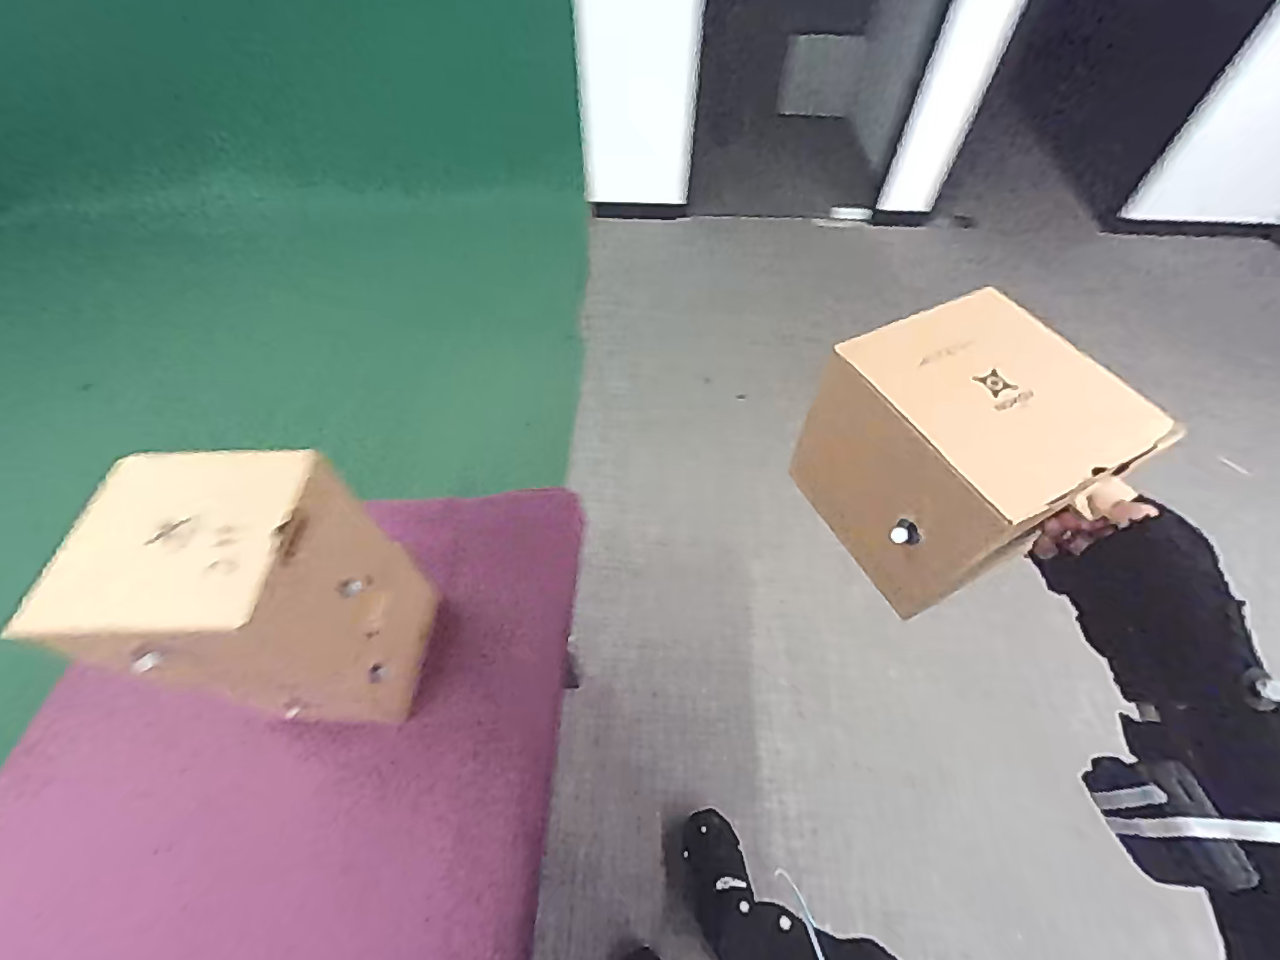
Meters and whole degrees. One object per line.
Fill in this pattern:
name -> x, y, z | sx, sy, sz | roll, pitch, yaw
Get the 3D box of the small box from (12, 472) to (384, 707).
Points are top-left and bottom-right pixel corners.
small box -> -0.375, 0.108, 0.506 | 0.179, 0.176, 0.168 | -1, 55, 0
